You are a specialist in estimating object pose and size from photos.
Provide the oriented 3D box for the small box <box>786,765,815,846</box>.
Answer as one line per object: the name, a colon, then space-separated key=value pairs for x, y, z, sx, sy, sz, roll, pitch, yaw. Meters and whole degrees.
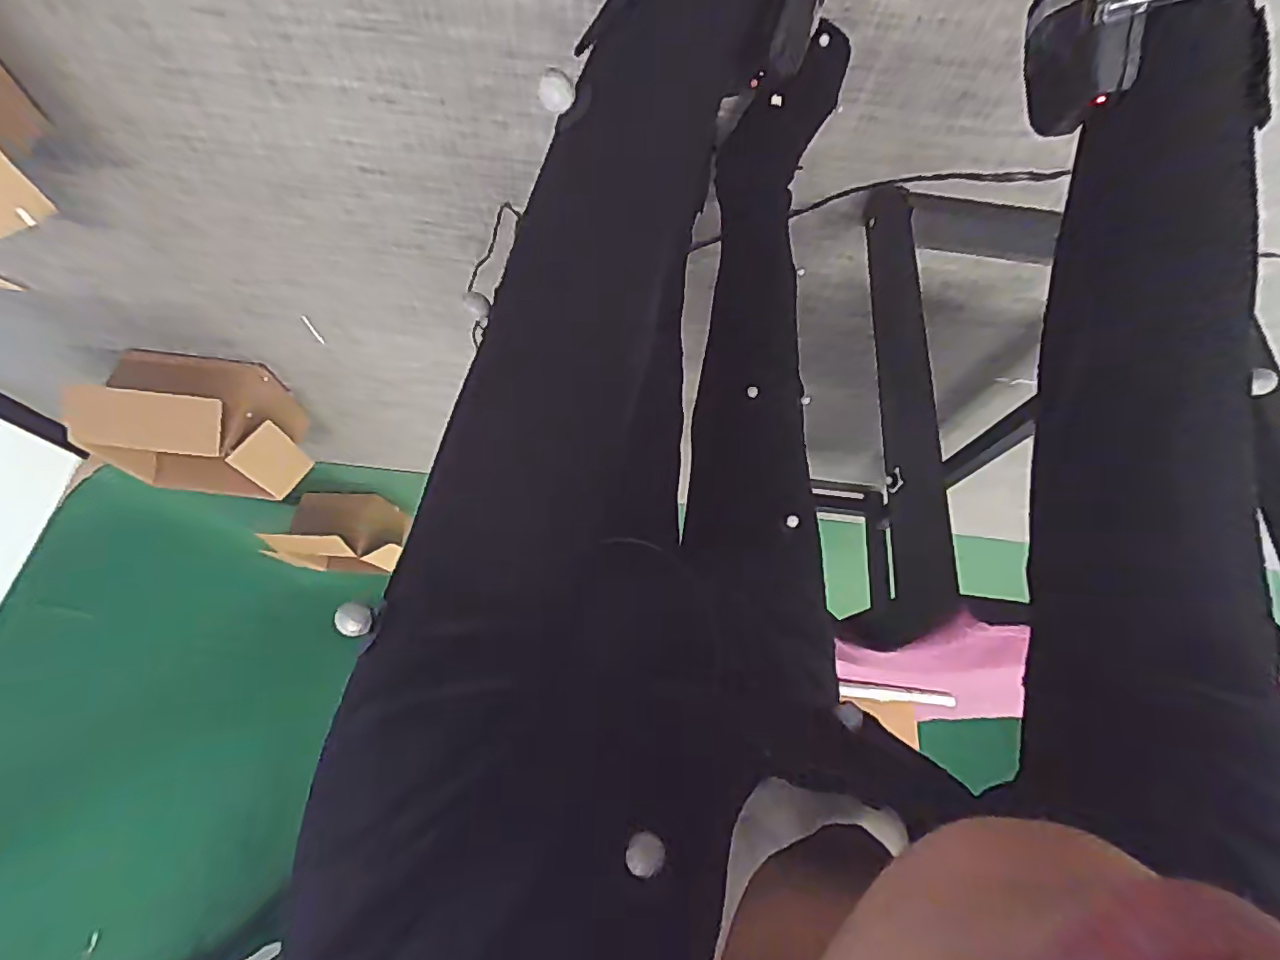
small box: x=0.489 y=0.842 z=1.399 sx=0.179 sy=0.176 sz=0.168 roll=8 pitch=156 yaw=-1

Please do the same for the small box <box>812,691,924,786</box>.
small box: x=0.485 y=0.559 z=1.183 sx=0.179 sy=0.176 sz=0.168 roll=5 pitch=155 yaw=1
